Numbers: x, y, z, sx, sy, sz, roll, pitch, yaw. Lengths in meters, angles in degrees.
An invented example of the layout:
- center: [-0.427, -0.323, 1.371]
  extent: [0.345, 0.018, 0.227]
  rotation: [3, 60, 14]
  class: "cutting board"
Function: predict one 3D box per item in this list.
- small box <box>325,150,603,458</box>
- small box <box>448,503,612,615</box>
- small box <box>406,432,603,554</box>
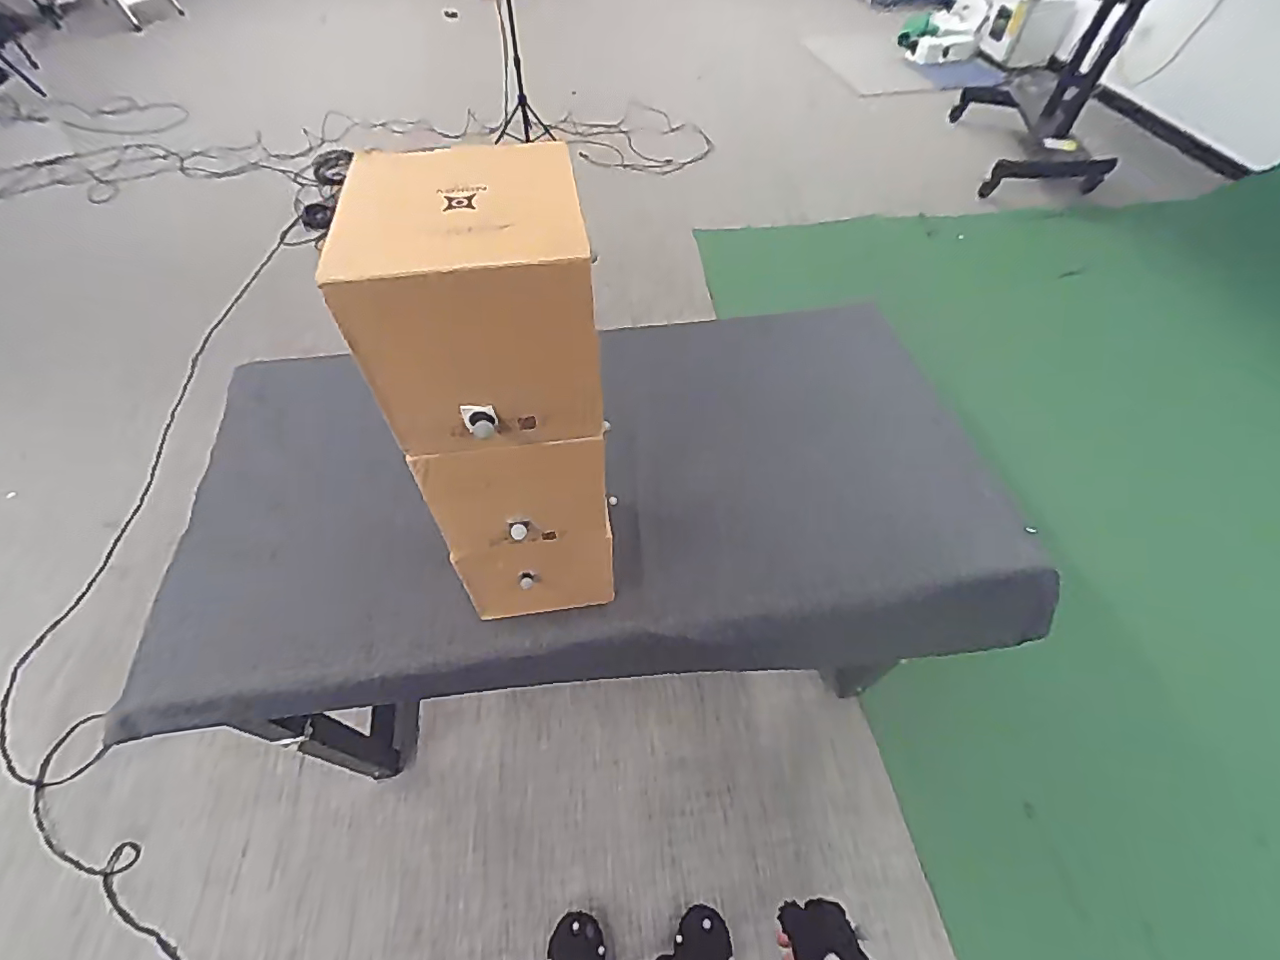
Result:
- center: [-0.123, -0.142, 0.443]
  extent: [0.168, 0.176, 0.179]
  rotation: [-8, 54, -6]
  class: "small box"
- center: [-0.134, 0.060, 0.699]
  extent: [0.179, 0.176, 0.168]
  rotation: [-6, 53, -6]
  class: "small box"
- center: [-0.129, -0.043, 0.571]
  extent: [0.168, 0.176, 0.179]
  rotation: [-6, 53, -6]
  class: "small box"
